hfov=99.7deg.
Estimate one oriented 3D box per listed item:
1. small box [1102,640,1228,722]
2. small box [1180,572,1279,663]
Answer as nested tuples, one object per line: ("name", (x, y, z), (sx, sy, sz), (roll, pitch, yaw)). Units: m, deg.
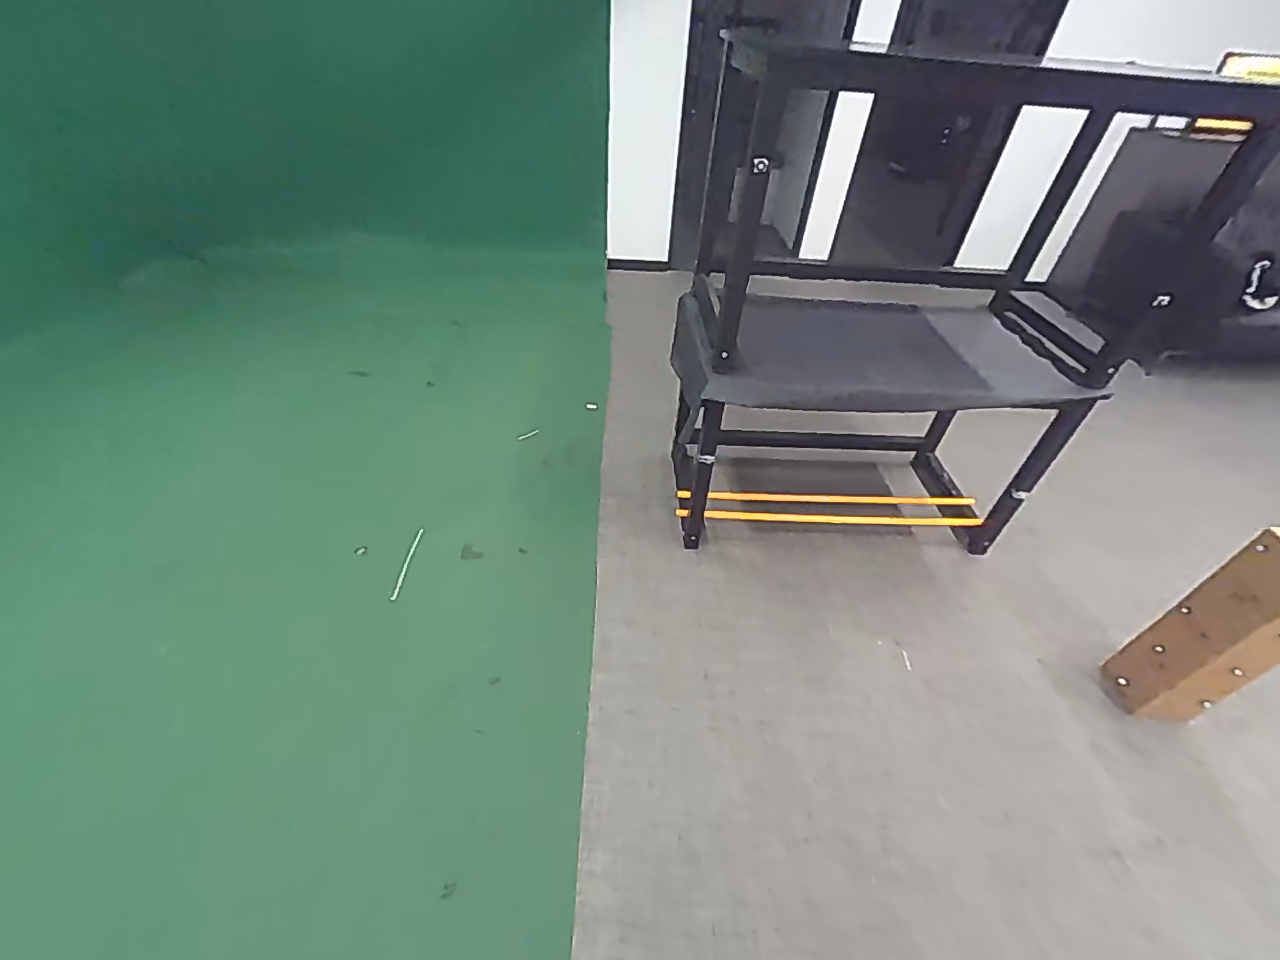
("small box", (1.557, 0.605, 1.618), (0.179, 0.176, 0.168), (5, 41, 1))
("small box", (1.577, 0.359, 1.404), (0.179, 0.176, 0.168), (4, 42, -1))
